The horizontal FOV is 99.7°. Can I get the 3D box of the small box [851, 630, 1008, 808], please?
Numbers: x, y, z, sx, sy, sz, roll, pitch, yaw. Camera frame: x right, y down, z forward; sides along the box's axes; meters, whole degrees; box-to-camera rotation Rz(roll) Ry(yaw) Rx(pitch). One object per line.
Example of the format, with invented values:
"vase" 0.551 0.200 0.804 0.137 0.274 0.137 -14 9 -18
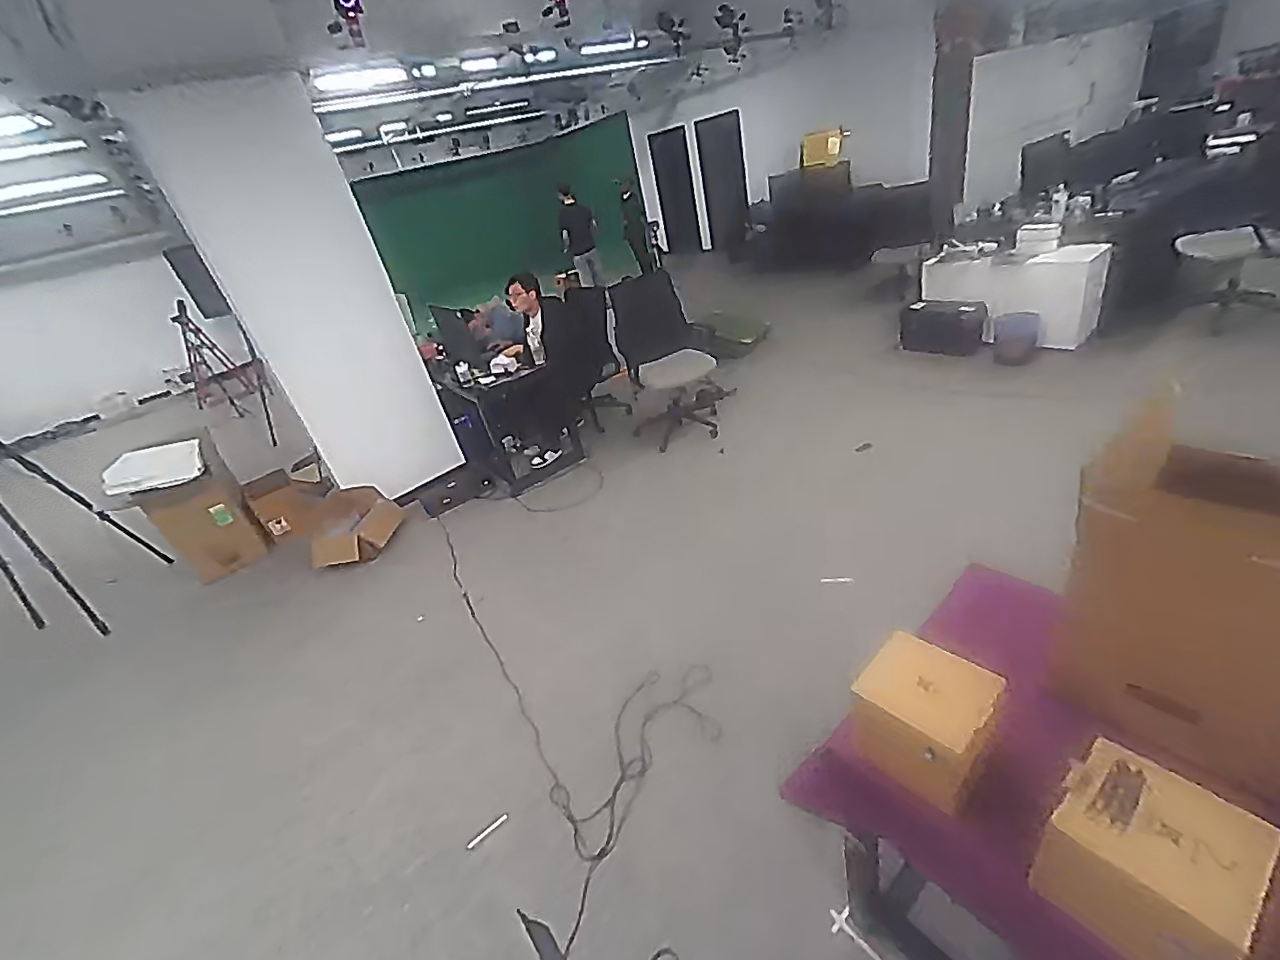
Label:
"small box" 0.473 0.394 0.900 0.168 0.176 0.179 -33 36 -29
